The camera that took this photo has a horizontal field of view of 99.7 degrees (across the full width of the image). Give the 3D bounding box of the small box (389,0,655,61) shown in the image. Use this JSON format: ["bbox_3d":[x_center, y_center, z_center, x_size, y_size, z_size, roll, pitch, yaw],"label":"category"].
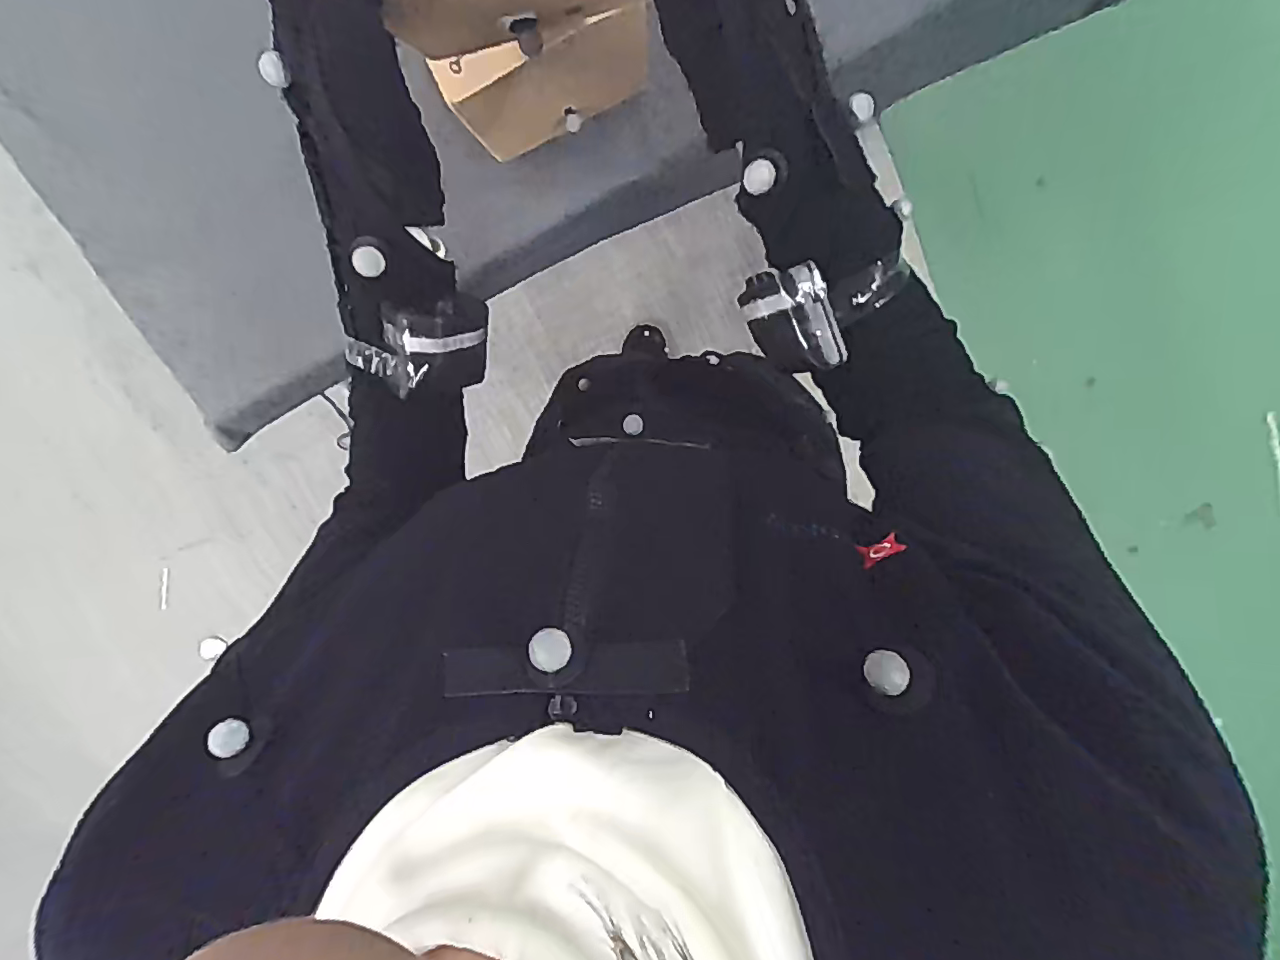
[{"bbox_3d":[-0.078,-0.346,0.263,0.168,0.176,0.179,-11,117,7],"label":"small box"}]

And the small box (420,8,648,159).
[{"bbox_3d":[-0.105,-0.430,0.489,0.179,0.176,0.168,-24,104,7],"label":"small box"}]
